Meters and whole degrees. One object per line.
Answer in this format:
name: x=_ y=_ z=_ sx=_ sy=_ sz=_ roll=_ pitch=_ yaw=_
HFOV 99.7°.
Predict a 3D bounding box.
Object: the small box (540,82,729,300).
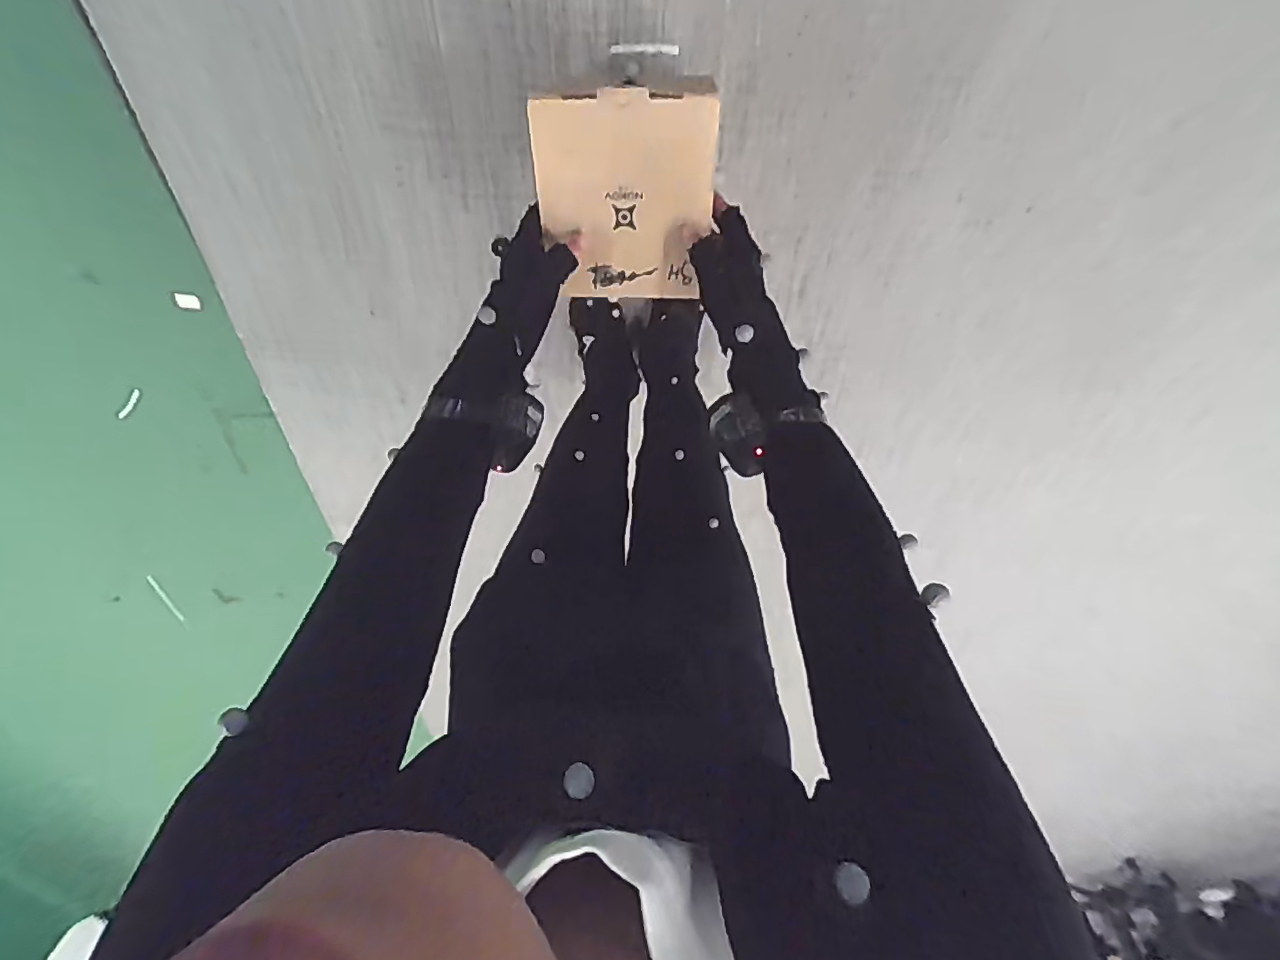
small box: x=0.000 y=-0.308 z=0.571 sx=0.168 sy=0.176 sz=0.179 roll=2 pitch=131 yaw=4
